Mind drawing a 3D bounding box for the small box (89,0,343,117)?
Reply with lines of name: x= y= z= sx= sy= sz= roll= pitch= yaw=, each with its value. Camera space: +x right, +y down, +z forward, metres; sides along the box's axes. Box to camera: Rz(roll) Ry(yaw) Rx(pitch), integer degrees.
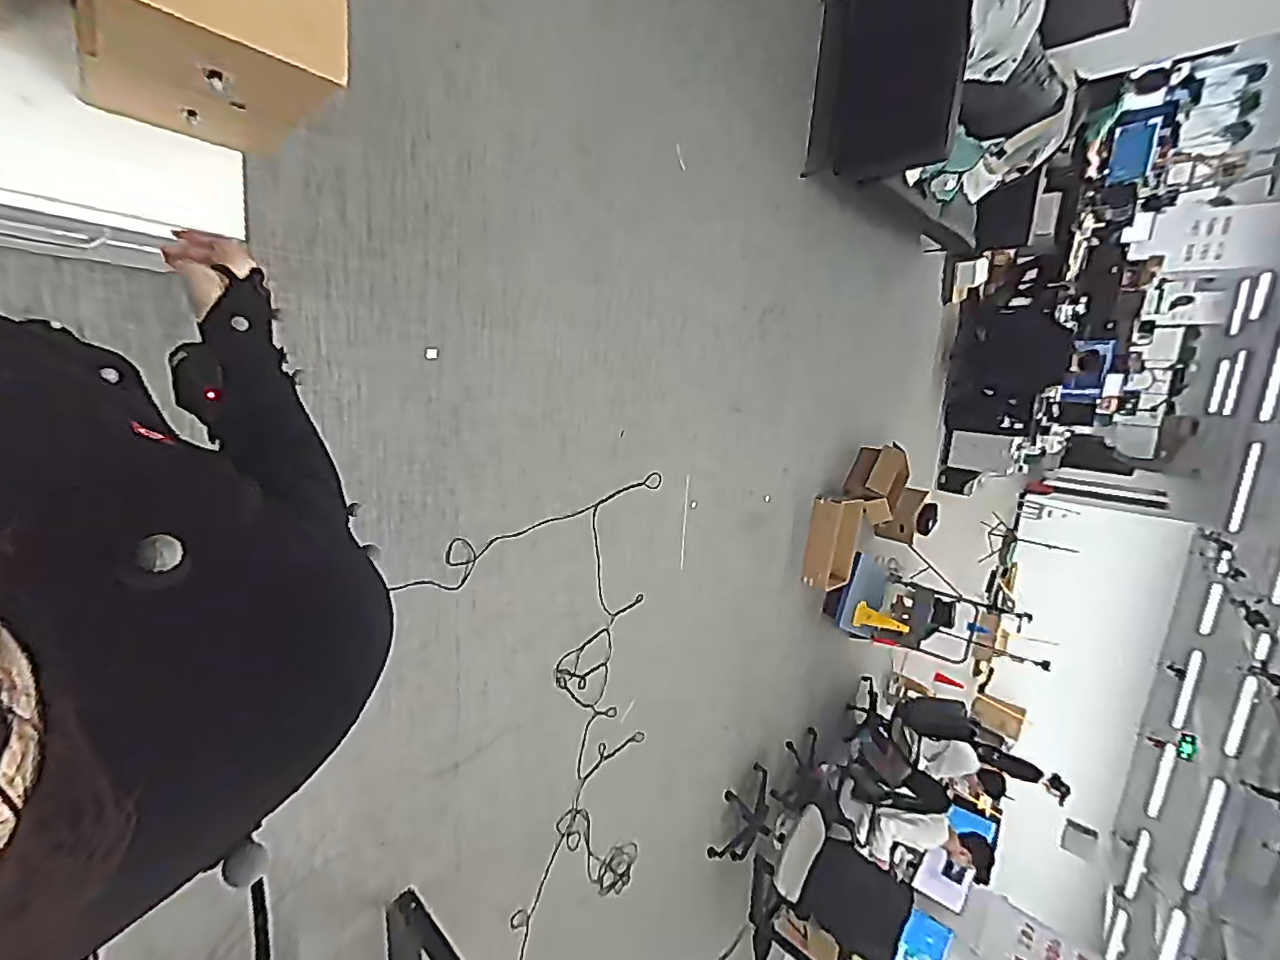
small box: x=-0.388 y=-0.471 z=0.495 sx=0.168 sy=0.176 sz=0.179 roll=-6 pitch=105 yaw=-47
